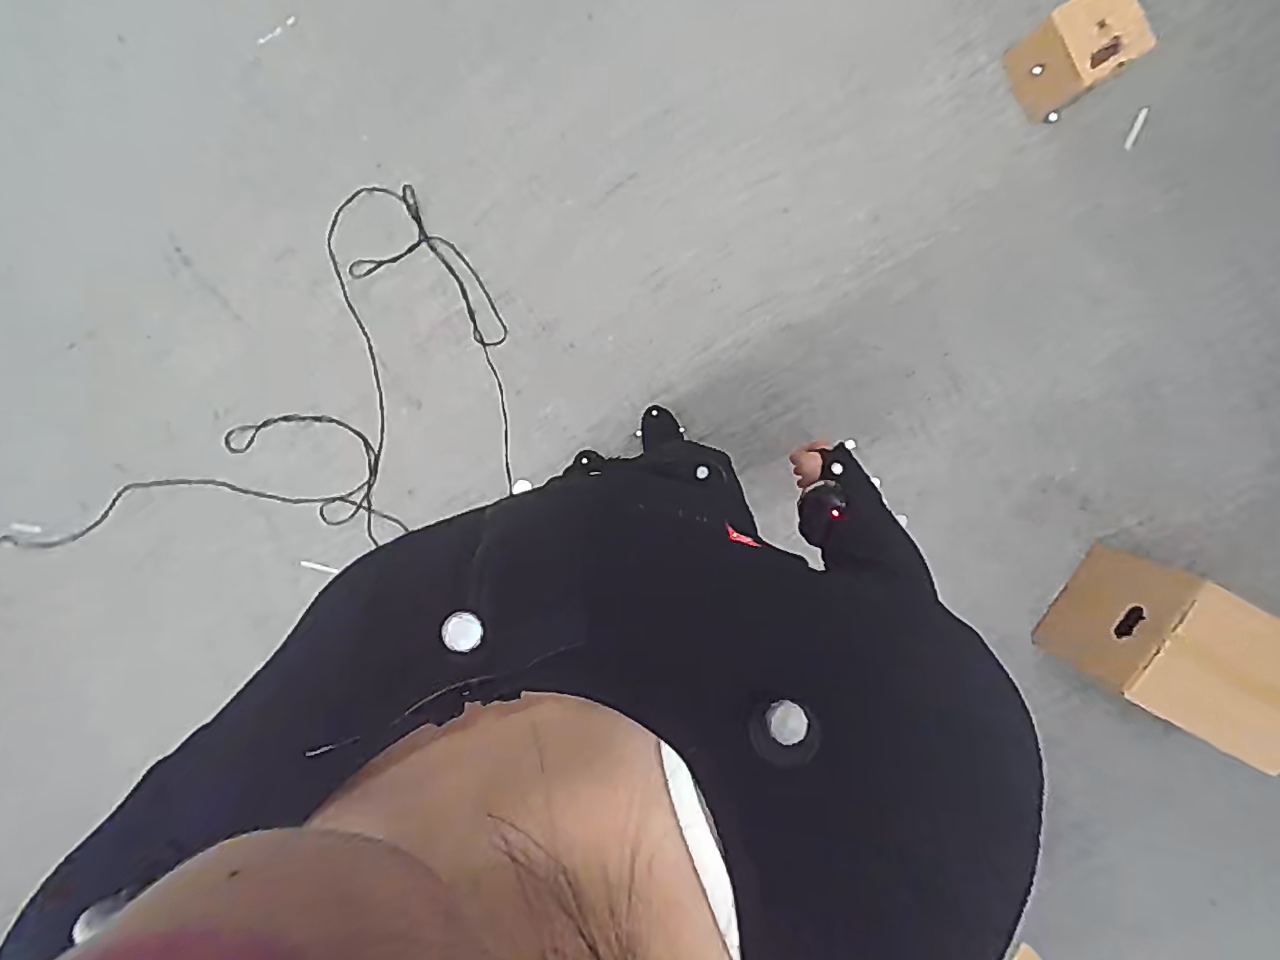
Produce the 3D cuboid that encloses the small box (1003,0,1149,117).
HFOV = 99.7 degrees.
[{"bbox_3d":[0.985,-0.977,1.237,0.168,0.176,0.179,-29,96,6],"label":"small box"}]
